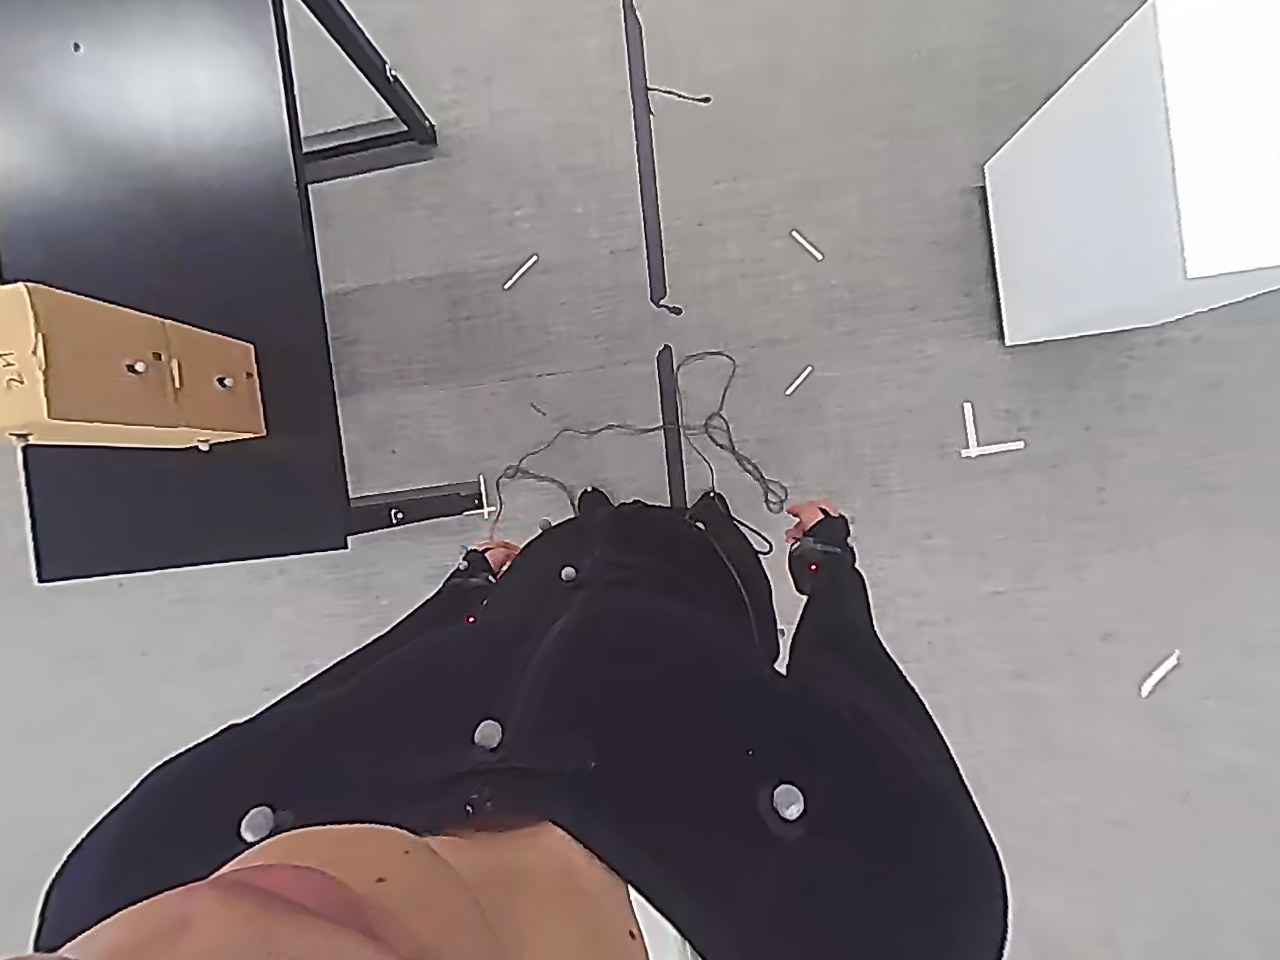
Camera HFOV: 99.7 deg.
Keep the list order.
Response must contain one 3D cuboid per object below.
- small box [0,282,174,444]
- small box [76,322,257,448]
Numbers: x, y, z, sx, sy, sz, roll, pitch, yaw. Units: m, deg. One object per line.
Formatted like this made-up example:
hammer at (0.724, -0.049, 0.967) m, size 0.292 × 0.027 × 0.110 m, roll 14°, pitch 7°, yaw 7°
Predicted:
small box at (-0.779, -0.141, 0.716) m, size 0.179 × 0.176 × 0.168 m, roll -8°, pitch 91°, yaw 5°
small box at (-0.763, -0.145, 0.880) m, size 0.179 × 0.176 × 0.168 m, roll -8°, pitch 90°, yaw 4°
